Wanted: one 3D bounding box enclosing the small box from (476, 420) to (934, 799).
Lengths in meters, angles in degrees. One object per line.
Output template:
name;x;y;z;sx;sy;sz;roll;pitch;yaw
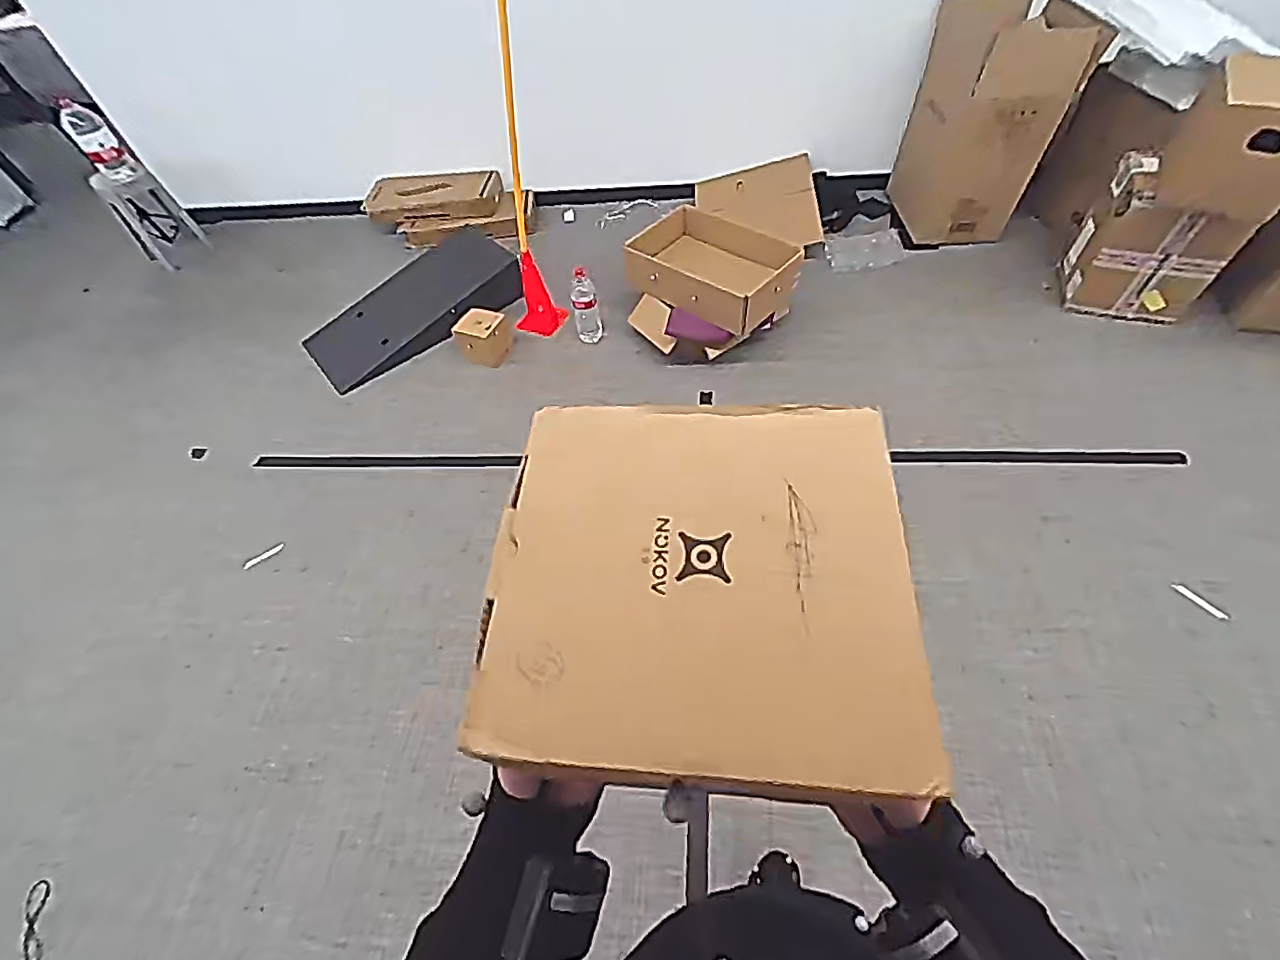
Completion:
small box;0.034;0.082;0.311;0.179;0.176;0.168;0;59;6
